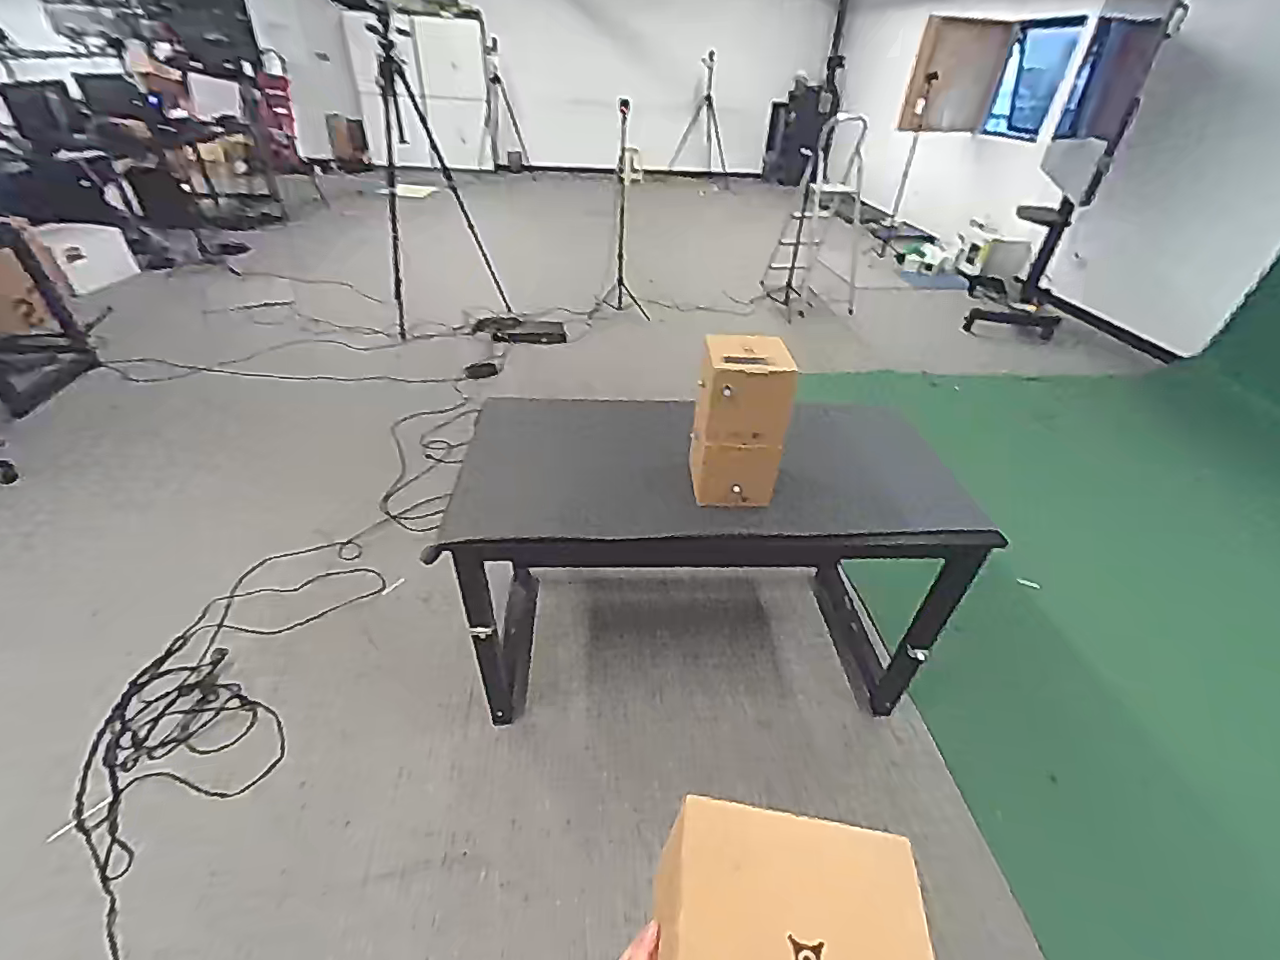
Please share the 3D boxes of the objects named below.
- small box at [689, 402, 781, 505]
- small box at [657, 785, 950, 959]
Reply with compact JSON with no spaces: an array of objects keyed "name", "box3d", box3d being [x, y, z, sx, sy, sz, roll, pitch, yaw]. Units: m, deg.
[{"name":"small box","box3d":[0.207,-0.063,1.237,0.168,0.176,0.179,0,37,-3]},{"name":"small box","box3d":[0.100,0.353,0.378,0.168,0.176,0.179,10,40,2]}]
